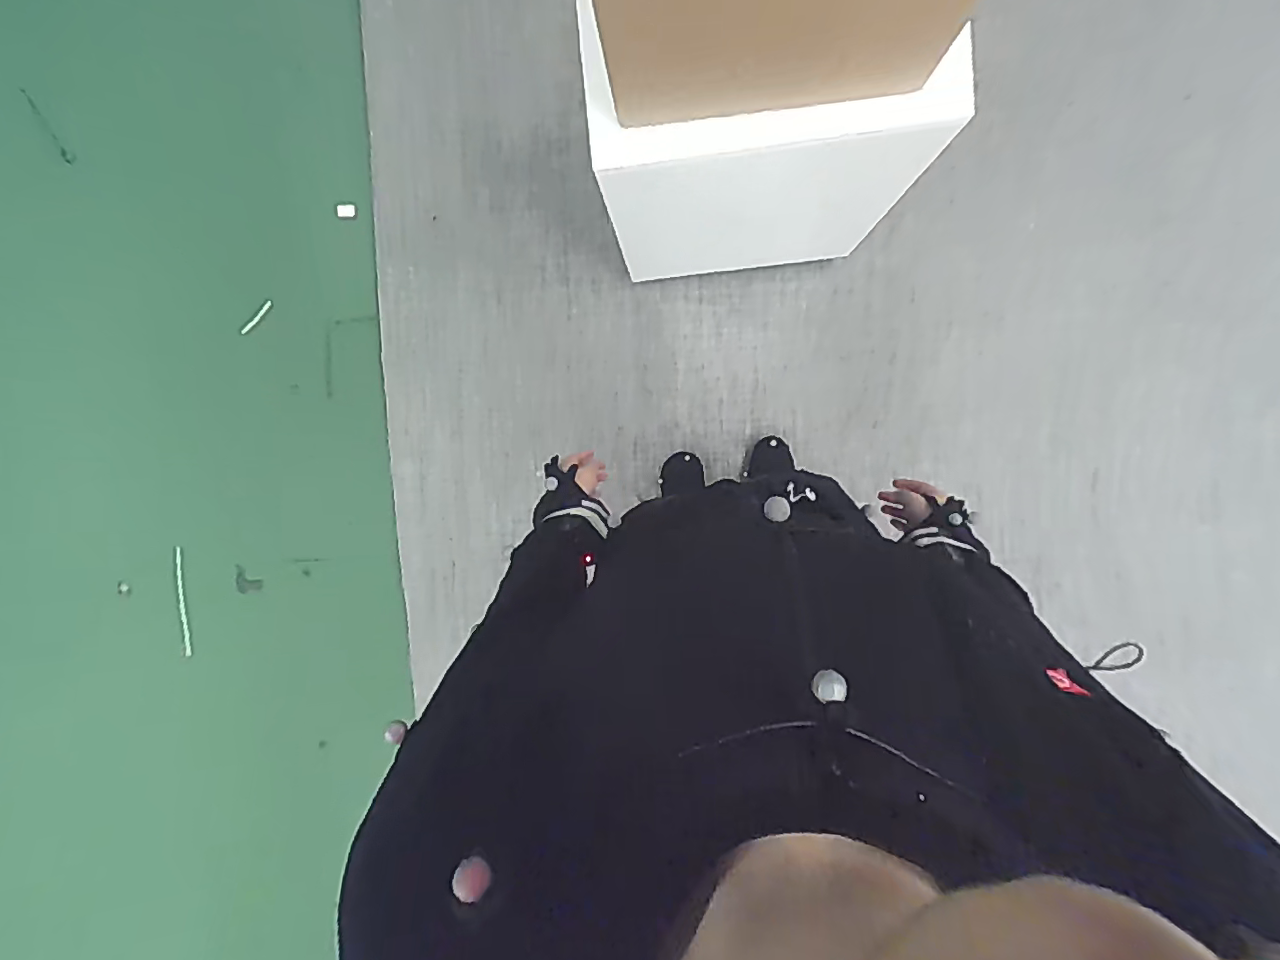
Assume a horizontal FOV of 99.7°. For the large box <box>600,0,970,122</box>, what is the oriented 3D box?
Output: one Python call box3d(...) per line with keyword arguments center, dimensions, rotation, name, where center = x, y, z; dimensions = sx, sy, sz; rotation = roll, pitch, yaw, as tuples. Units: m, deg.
box3d(center=(0.144, -0.642, 0.567), dimensions=(0.408, 0.320, 0.320), rotation=(-5, 95, 4), name="large box")
